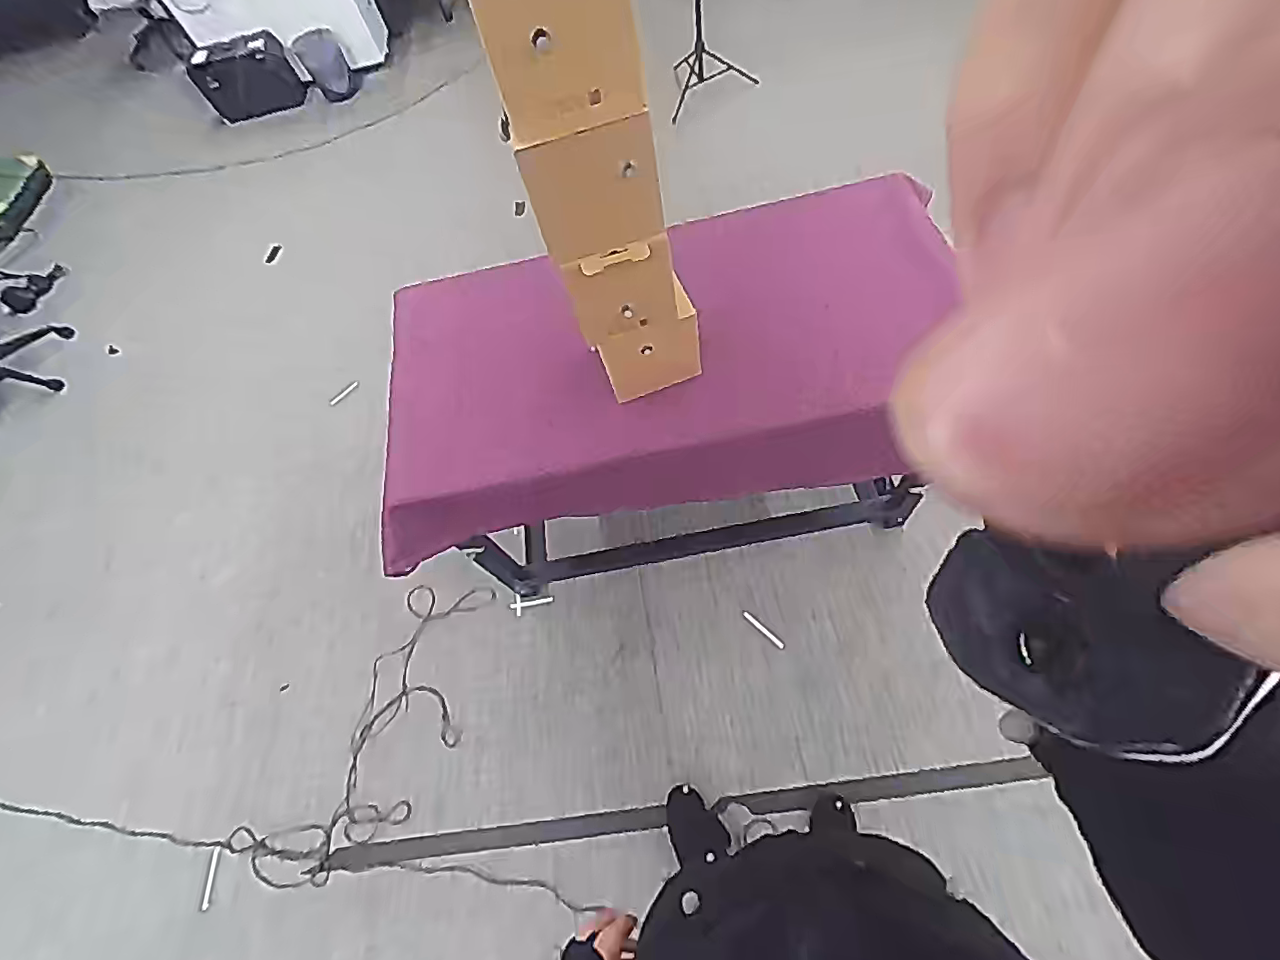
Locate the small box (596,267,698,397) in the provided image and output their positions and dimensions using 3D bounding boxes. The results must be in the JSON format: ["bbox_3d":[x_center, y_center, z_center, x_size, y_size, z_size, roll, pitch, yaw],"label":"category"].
[{"bbox_3d":[0.000,-0.285,1.028,0.179,0.176,0.168,-20,61,-2],"label":"small box"}]

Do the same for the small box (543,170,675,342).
[{"bbox_3d":[-0.047,-0.362,0.889,0.168,0.176,0.179,-17,61,2],"label":"small box"}]

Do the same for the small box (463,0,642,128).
[{"bbox_3d":[-0.103,-0.536,0.617,0.168,0.176,0.179,-16,60,2],"label":"small box"}]
